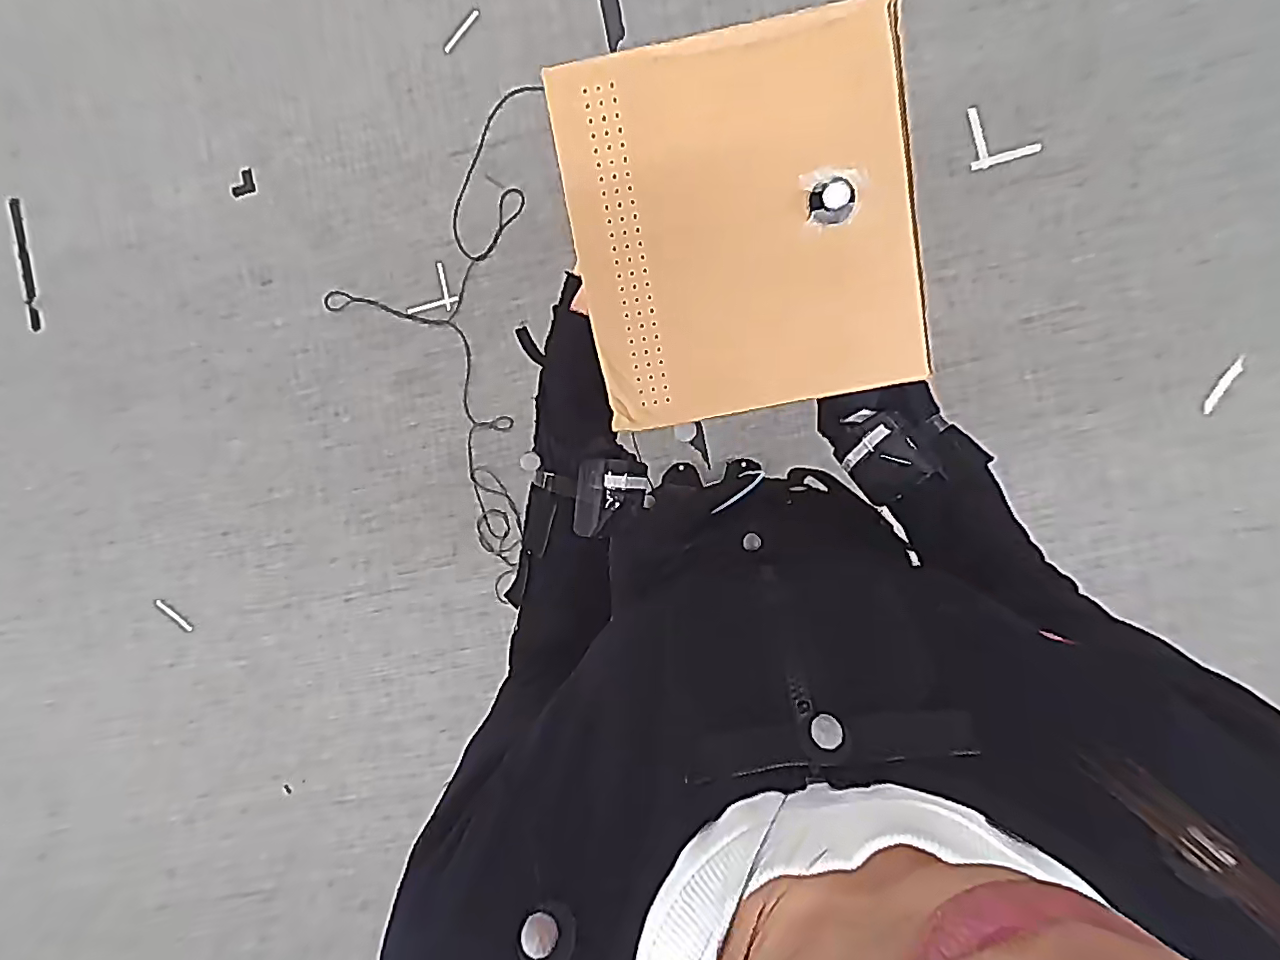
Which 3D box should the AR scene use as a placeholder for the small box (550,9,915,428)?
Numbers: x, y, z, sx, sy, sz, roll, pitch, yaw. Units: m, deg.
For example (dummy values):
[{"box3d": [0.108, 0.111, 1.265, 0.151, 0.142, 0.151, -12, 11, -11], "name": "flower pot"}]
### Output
[{"box3d": [0.048, -0.140, 0.352, 0.176, 0.168, 0.179, -10, 100, 4], "name": "small box"}]
